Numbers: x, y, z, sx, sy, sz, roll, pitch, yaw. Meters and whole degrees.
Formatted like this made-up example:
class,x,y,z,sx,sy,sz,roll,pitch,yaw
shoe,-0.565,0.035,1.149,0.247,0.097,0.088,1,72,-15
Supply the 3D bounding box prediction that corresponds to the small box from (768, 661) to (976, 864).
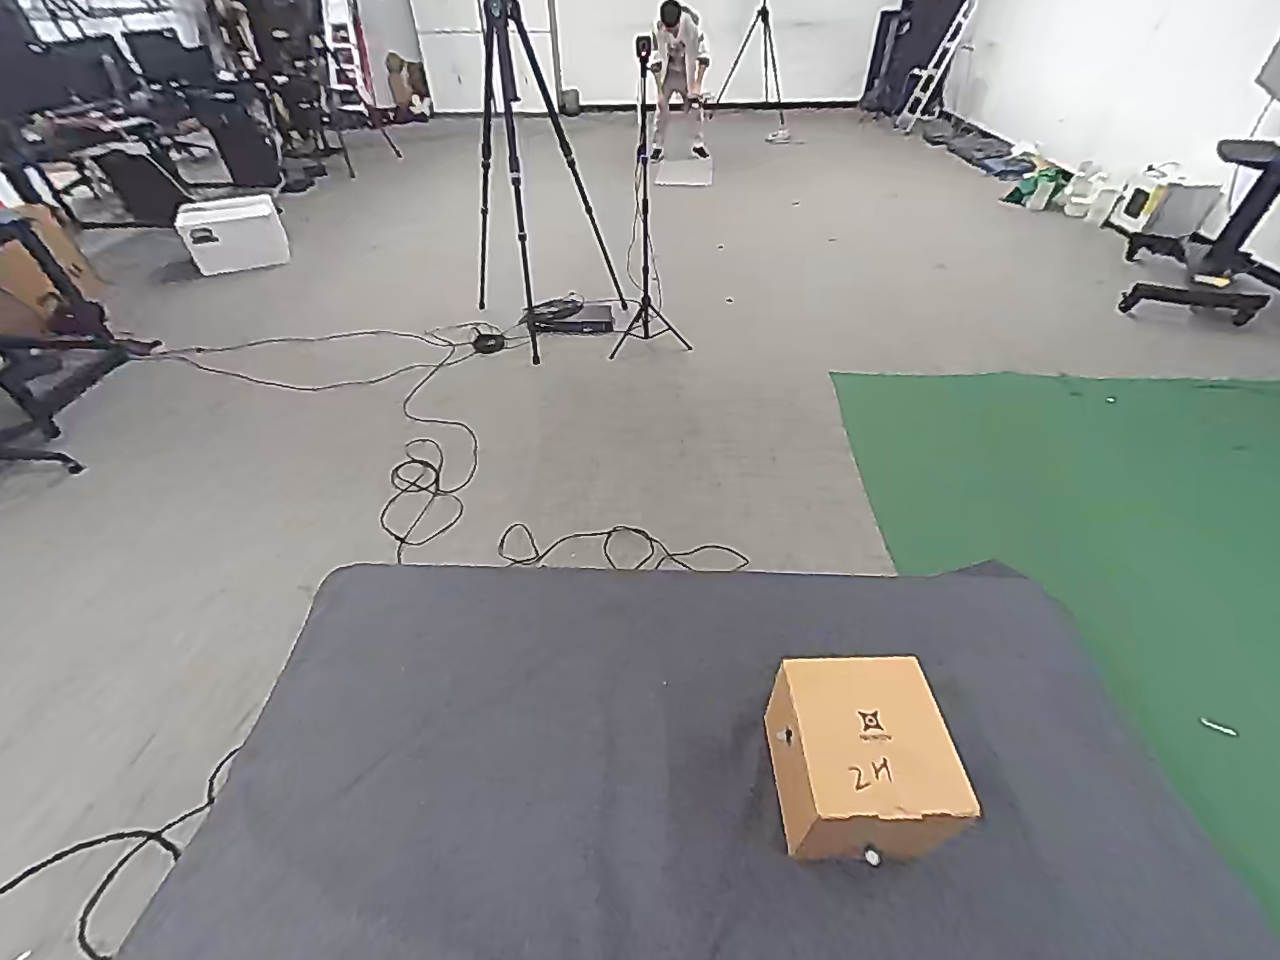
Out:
class,x,y,z,sx,sy,sz,roll,pitch,yaw
small box,0.260,0.343,0.661,0.168,0.176,0.179,-1,43,1
